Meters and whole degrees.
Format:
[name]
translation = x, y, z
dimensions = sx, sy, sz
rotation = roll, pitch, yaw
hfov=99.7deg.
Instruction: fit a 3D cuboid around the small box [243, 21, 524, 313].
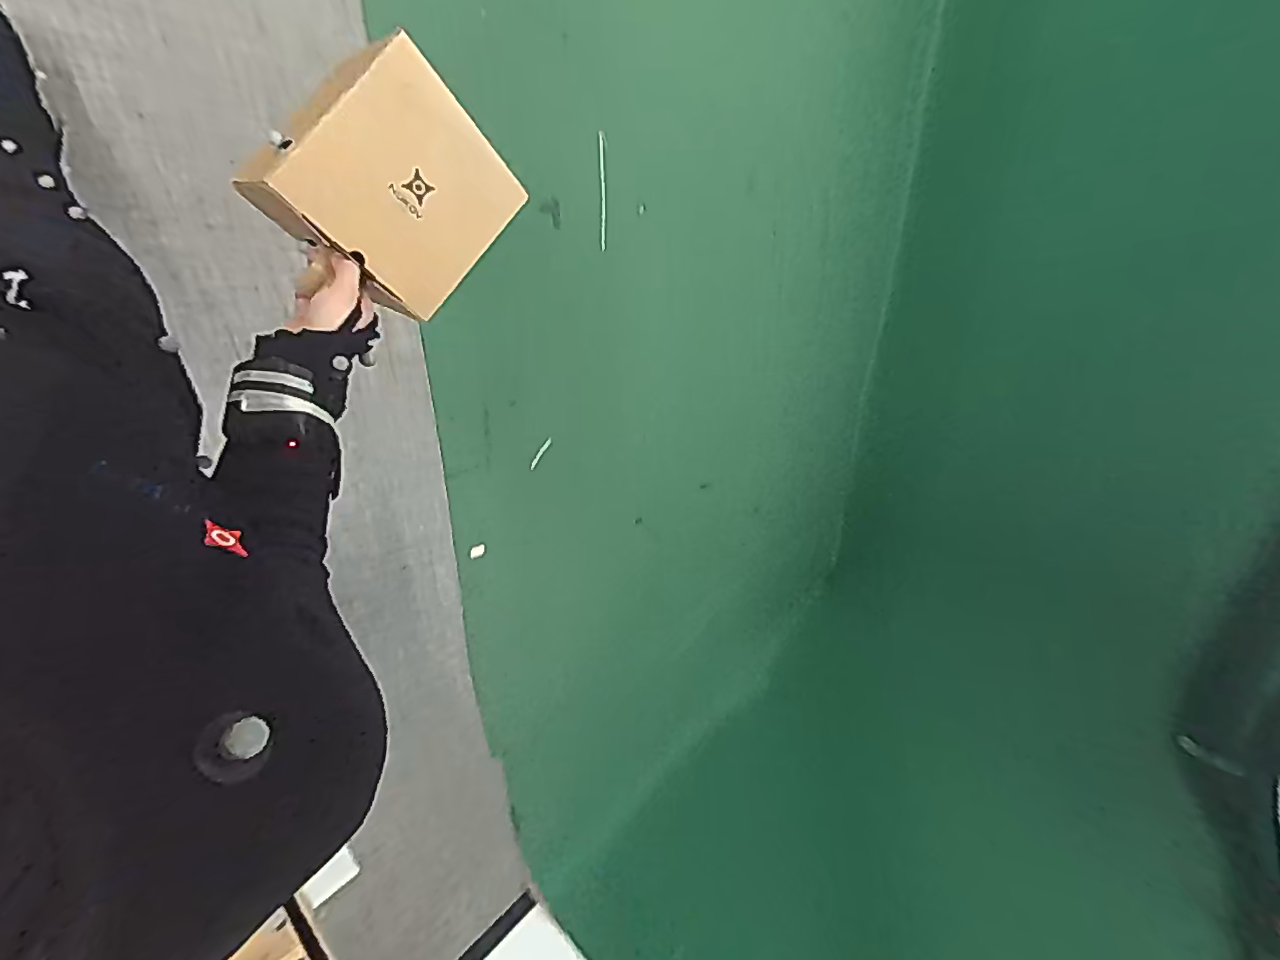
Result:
[small box]
translation = -0.259, -0.301, 0.543
dimensions = 0.179, 0.176, 0.168
rotation = -55, 138, -6
